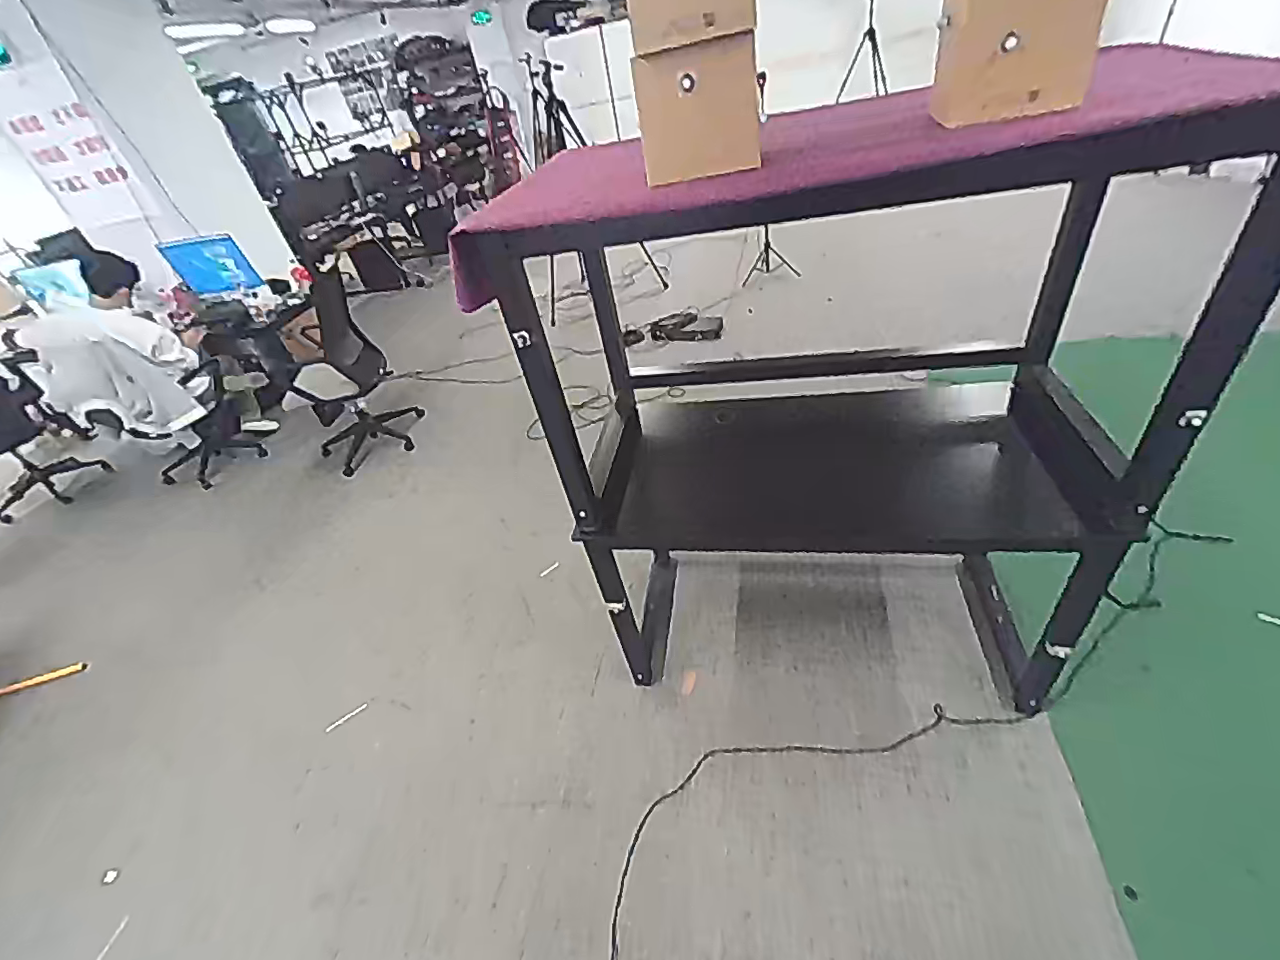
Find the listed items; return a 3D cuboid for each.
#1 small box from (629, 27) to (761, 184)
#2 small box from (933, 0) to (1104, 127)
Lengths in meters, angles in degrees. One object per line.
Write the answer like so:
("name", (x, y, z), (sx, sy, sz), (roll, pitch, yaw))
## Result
("small box", (0.093, -0.578, 0.843), (0.179, 0.176, 0.168), (-4, 39, 12))
("small box", (0.534, -0.626, 0.778), (0.168, 0.176, 0.179), (1, 39, 18))
